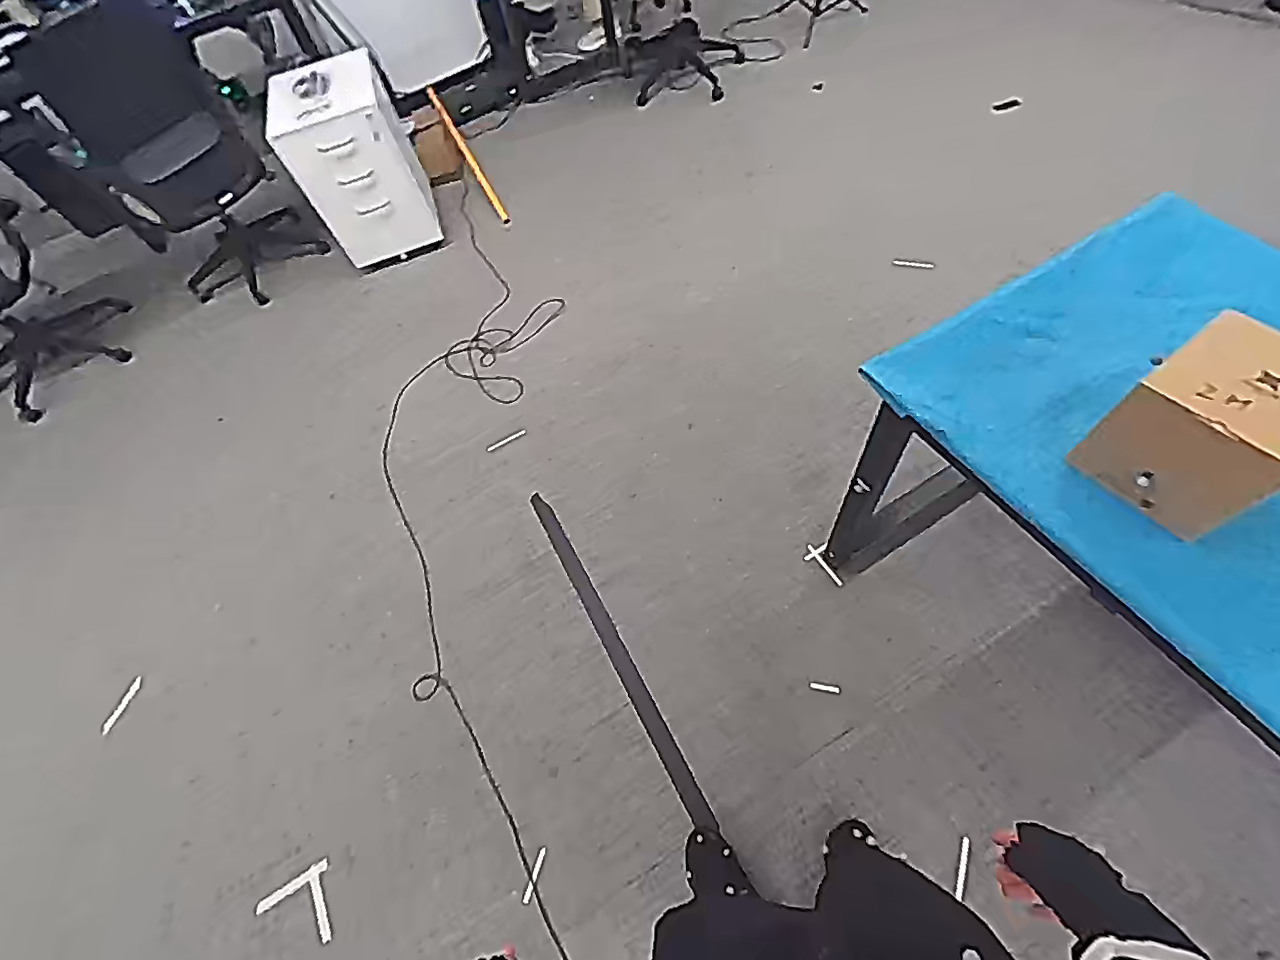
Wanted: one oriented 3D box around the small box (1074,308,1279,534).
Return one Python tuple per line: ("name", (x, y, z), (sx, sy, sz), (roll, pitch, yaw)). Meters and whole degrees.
("small box", (0.692, -0.066, 0.658), (0.179, 0.176, 0.168), (-33, 59, -7))
